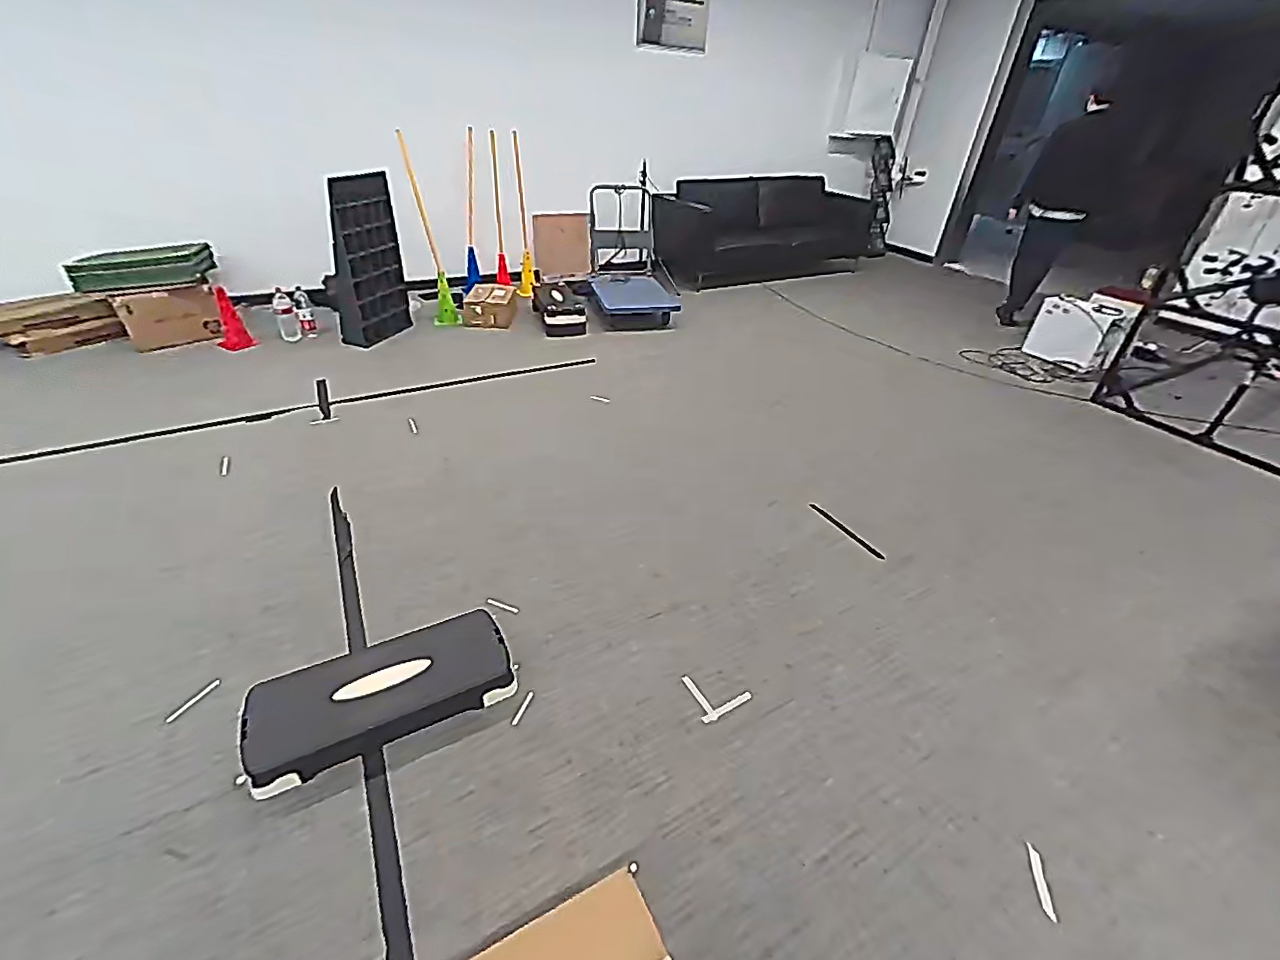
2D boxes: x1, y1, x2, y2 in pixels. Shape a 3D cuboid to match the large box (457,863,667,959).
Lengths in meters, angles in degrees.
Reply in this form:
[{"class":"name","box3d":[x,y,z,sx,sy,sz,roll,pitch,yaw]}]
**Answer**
[{"class":"large box","box3d":[-0.141,0.933,0.860,0.408,0.320,0.320,-14,39,-26]}]
